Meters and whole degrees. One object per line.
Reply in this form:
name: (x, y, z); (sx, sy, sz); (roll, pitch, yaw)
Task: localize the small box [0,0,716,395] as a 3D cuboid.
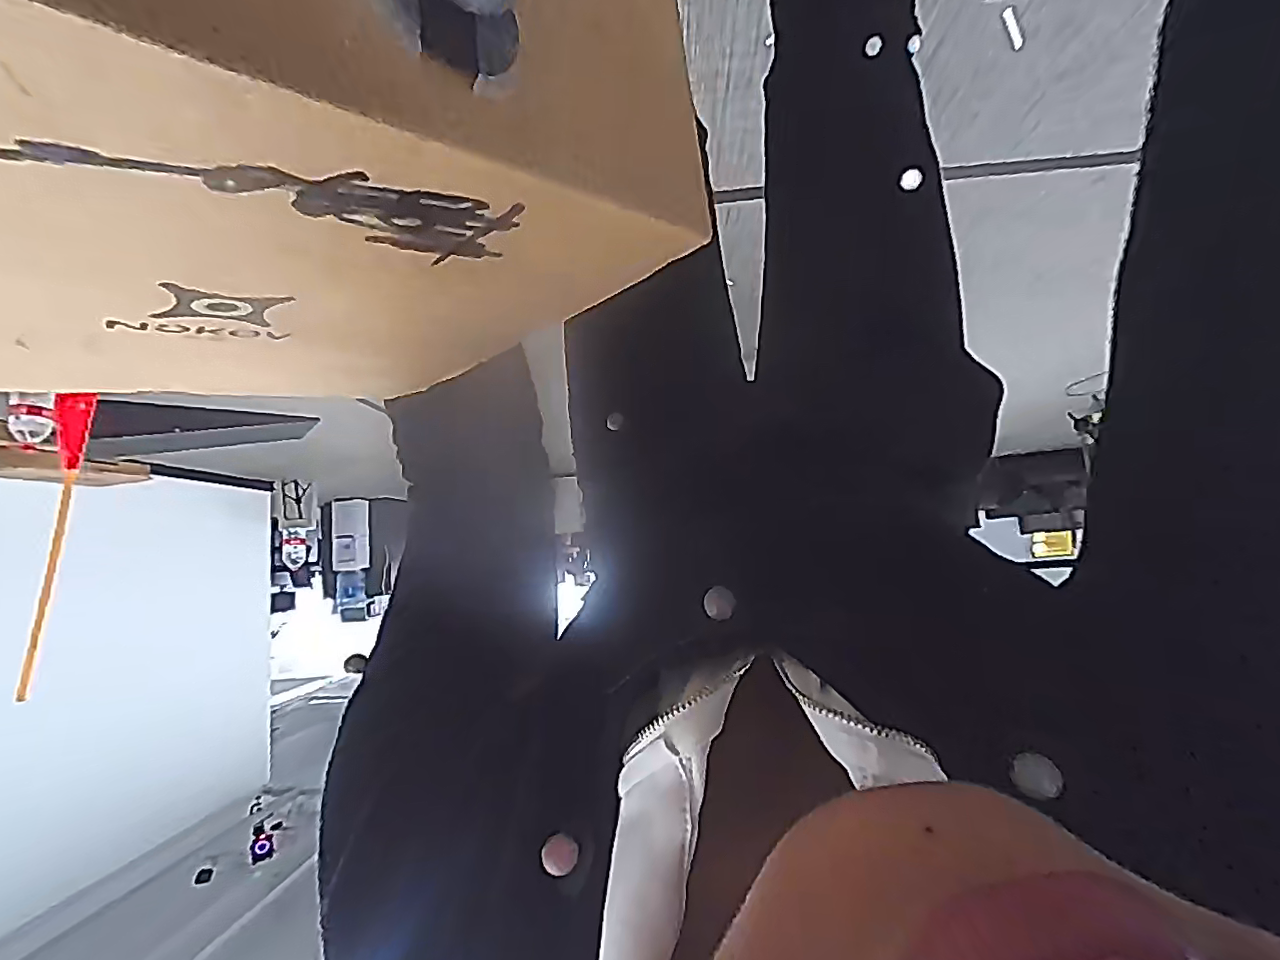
small box: (-0.106, -0.117, 0.115); (0.179, 0.176, 0.168); (-6, -177, 42)
